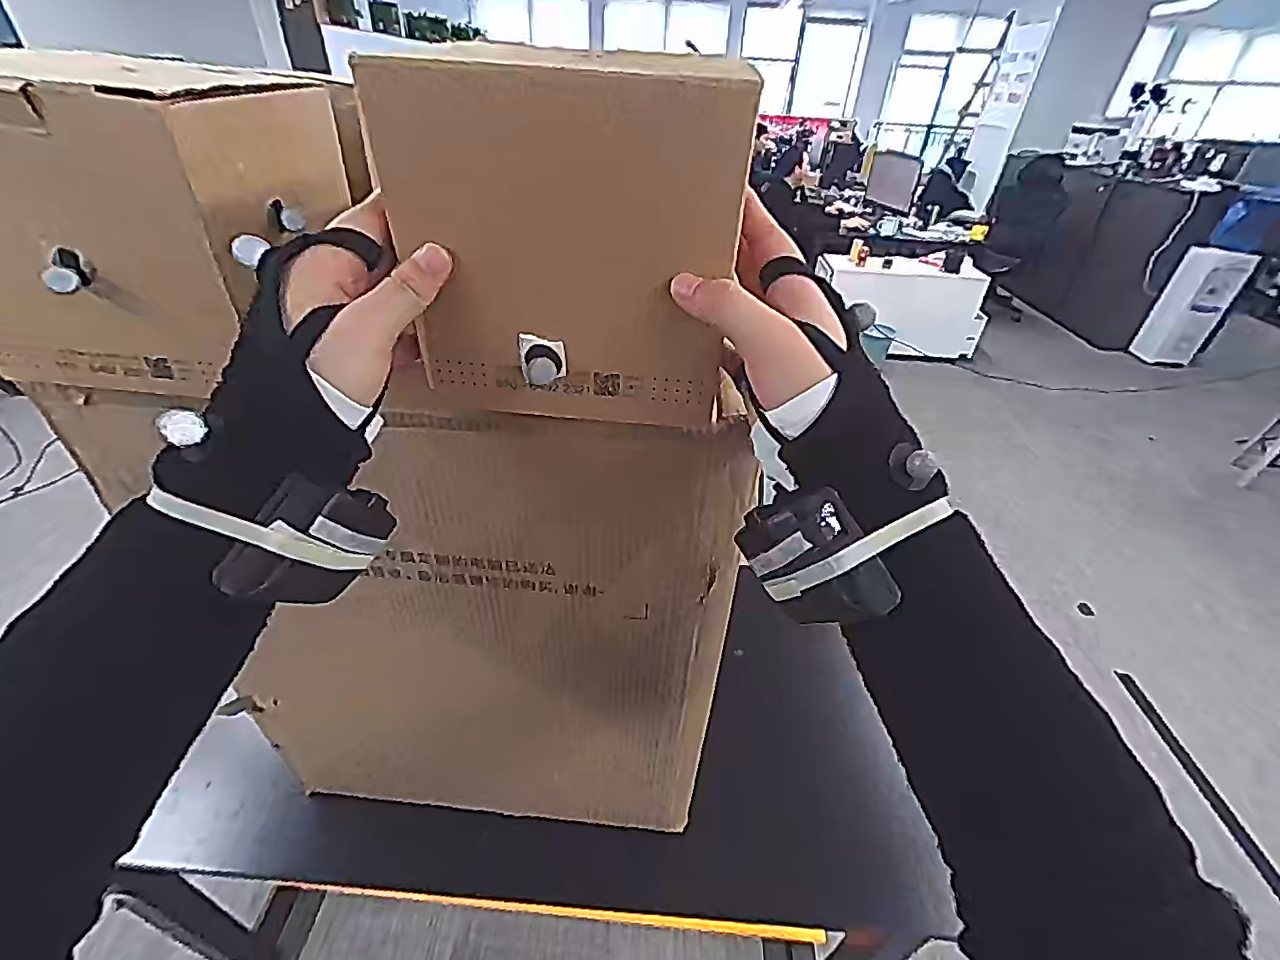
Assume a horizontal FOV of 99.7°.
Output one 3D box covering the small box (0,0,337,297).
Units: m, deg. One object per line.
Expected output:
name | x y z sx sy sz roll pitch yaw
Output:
small box | -0.290 -0.210 0.285 0.168 0.176 0.179 4 39 -4

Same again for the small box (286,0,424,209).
small box | -0.286 -0.332 0.450 0.179 0.176 0.168 6 36 1

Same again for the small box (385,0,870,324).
small box | -0.006 -0.191 0.251 0.168 0.176 0.179 3 42 1
